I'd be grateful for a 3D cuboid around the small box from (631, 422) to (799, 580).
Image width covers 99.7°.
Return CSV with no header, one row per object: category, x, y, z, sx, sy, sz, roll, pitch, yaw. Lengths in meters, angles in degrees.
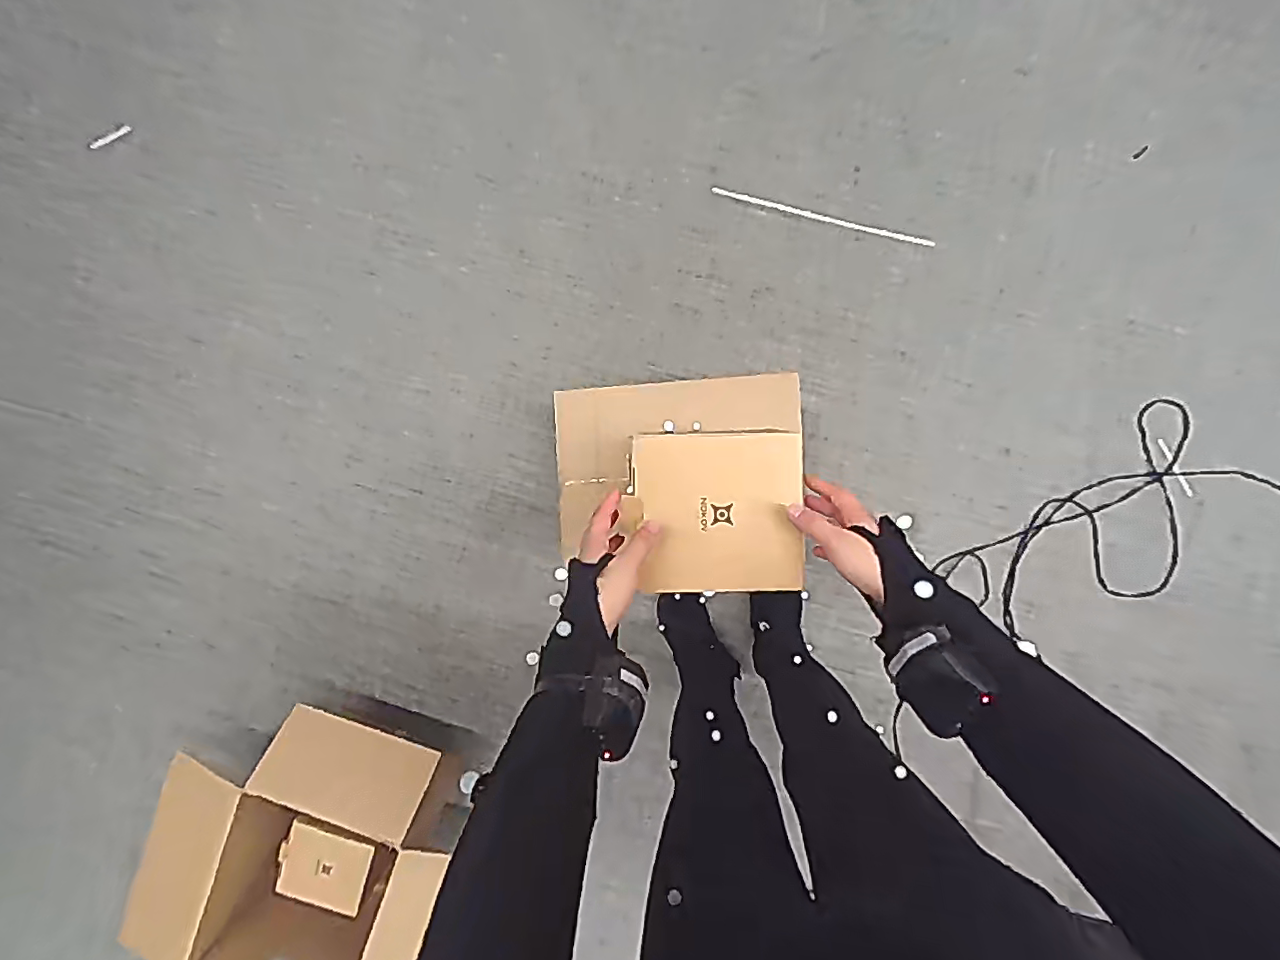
small box,0.083,0.016,0.648,0.179,0.176,0.168,-2,96,4
